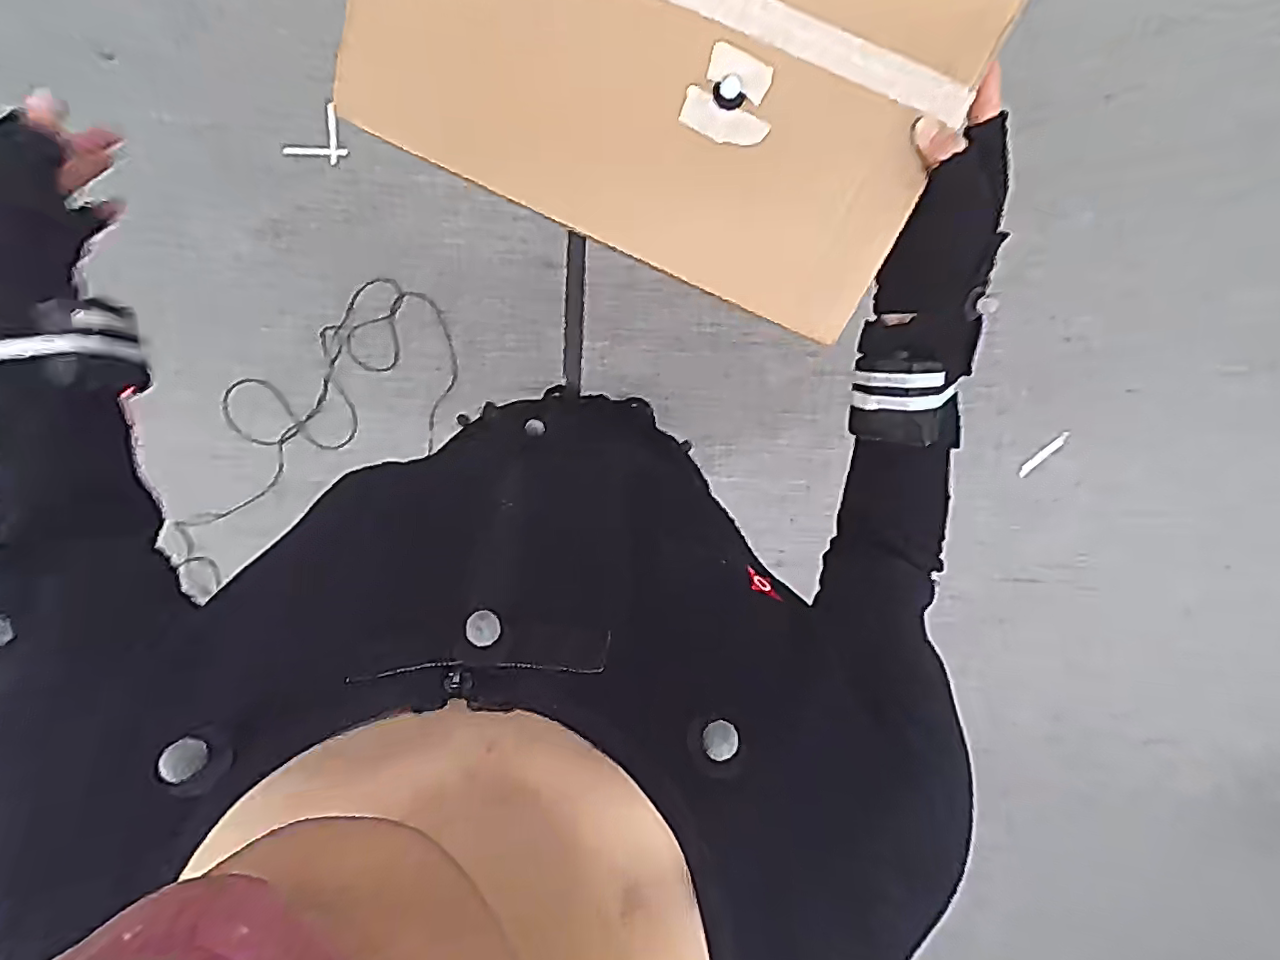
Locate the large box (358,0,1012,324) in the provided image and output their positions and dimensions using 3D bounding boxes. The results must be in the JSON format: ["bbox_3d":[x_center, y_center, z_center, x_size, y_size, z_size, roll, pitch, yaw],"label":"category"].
[{"bbox_3d":[0.045,-0.369,0.491,0.408,0.320,0.320,25,111,1],"label":"large box"}]
